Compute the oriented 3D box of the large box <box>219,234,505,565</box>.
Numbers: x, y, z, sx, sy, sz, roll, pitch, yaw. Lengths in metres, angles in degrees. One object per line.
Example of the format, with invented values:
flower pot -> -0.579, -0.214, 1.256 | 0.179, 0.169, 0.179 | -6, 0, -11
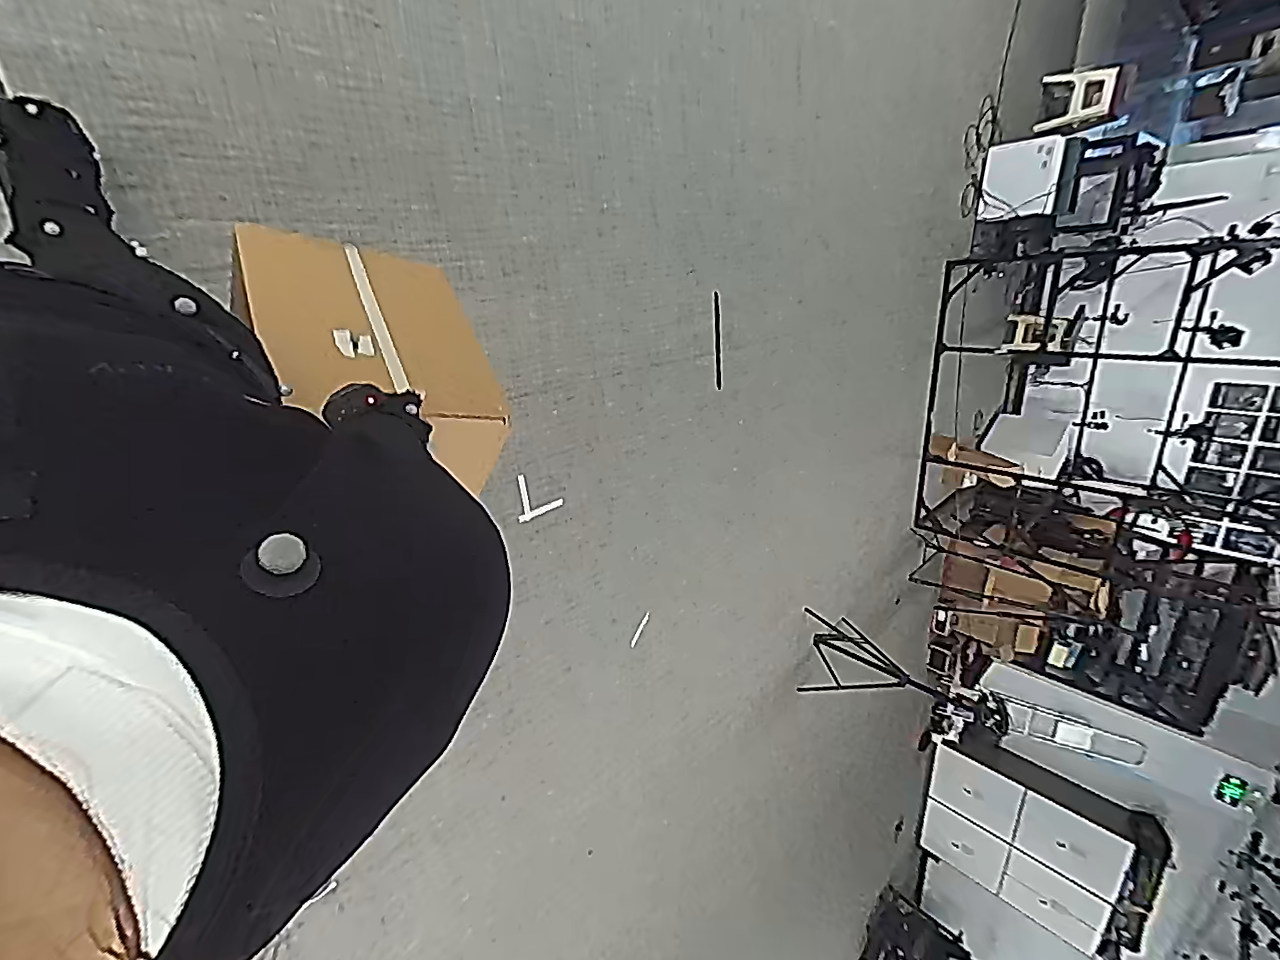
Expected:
large box -> -0.480, -0.124, 0.894 | 0.320, 0.408, 0.320 | -3, 142, -41
